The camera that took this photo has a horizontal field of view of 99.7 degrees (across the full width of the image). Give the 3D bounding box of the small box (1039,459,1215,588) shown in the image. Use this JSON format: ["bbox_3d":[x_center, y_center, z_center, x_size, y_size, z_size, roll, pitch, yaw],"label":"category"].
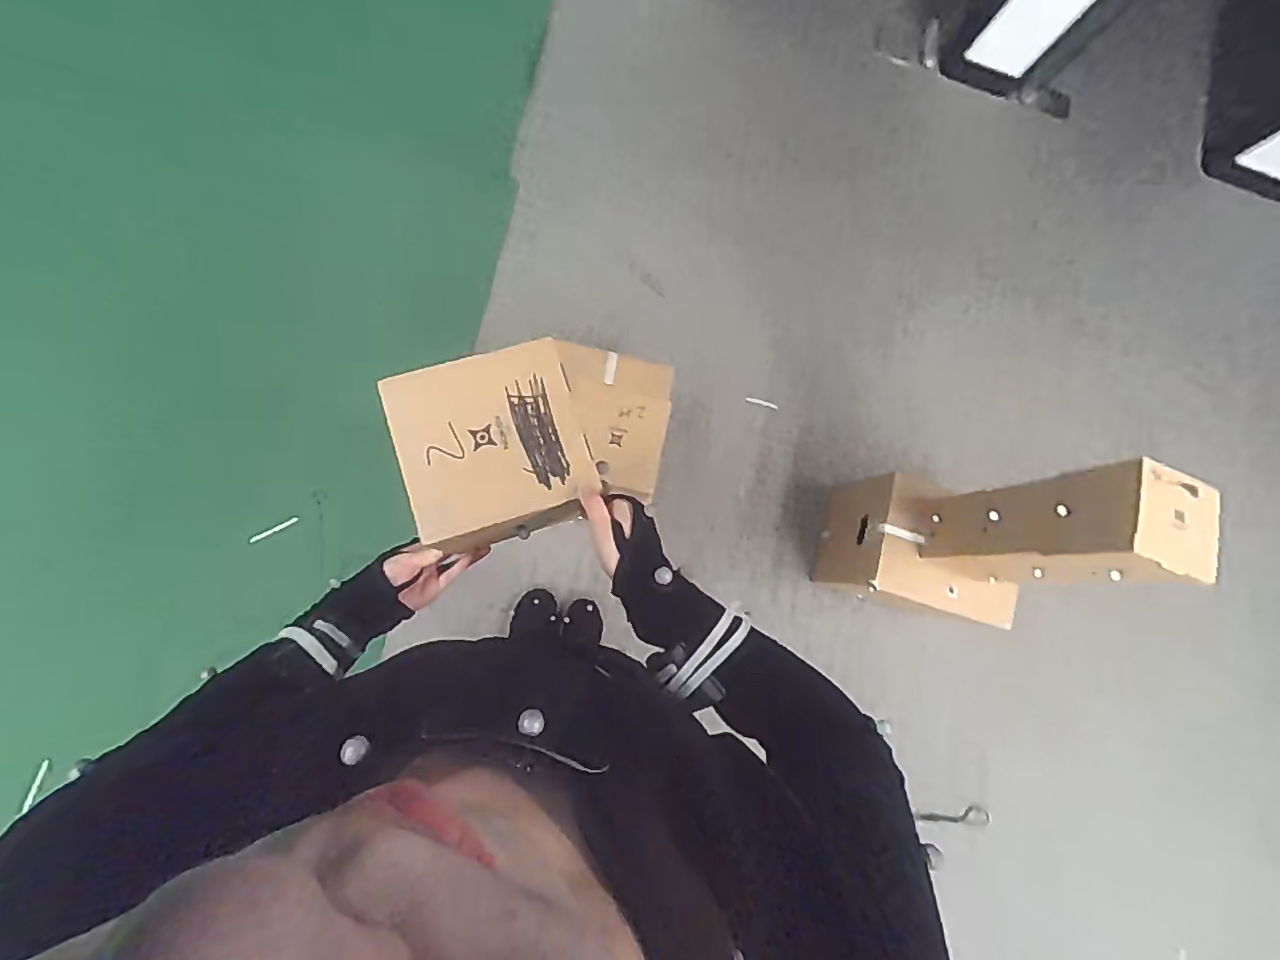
[{"bbox_3d":[0.881,0.086,0.992,0.168,0.176,0.179,23,77,-7],"label":"small box"}]

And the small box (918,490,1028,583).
[{"bbox_3d":[0.818,0.140,1.310,0.179,0.176,0.168,22,76,-6],"label":"small box"}]

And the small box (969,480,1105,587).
[{"bbox_3d":[0.851,0.117,1.151,0.179,0.176,0.168,23,76,-6],"label":"small box"}]

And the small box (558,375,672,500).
[{"bbox_3d":[-0.053,-0.067,1.008,0.168,0.176,0.179,15,79,-9],"label":"small box"}]

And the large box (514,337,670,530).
[{"bbox_3d":[-0.129,-0.098,1.418,0.320,0.320,0.408,12,79,-9],"label":"large box"}]

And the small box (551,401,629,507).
[{"bbox_3d":[-0.091,-0.047,1.167,0.168,0.176,0.179,15,78,-8],"label":"small box"}]
